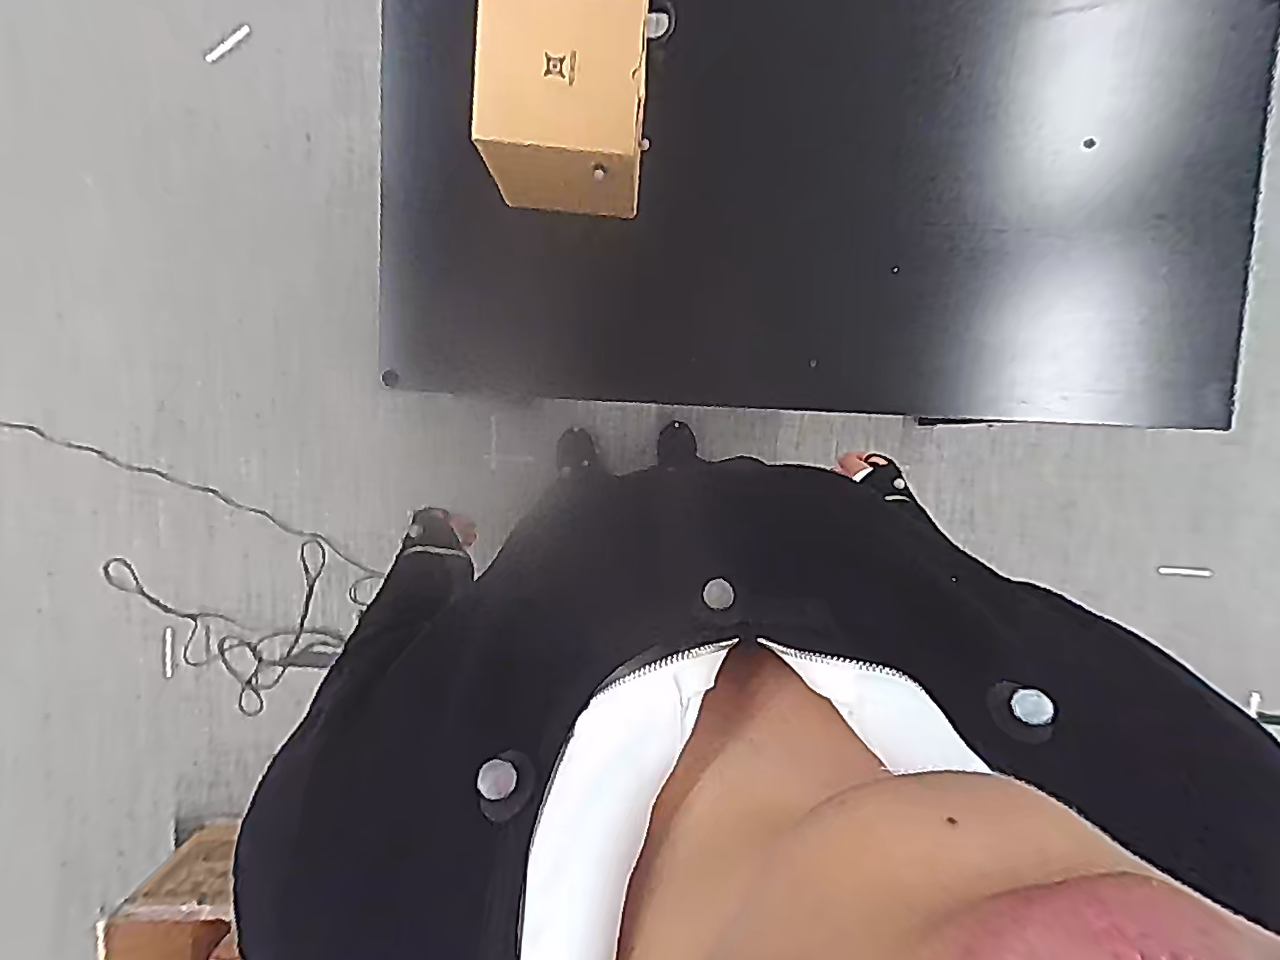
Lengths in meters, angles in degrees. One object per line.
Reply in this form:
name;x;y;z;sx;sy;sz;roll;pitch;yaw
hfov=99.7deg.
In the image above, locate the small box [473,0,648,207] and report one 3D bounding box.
small box;-0.086;-0.448;0.647;0.179;0.176;0.168;4;95;-3
